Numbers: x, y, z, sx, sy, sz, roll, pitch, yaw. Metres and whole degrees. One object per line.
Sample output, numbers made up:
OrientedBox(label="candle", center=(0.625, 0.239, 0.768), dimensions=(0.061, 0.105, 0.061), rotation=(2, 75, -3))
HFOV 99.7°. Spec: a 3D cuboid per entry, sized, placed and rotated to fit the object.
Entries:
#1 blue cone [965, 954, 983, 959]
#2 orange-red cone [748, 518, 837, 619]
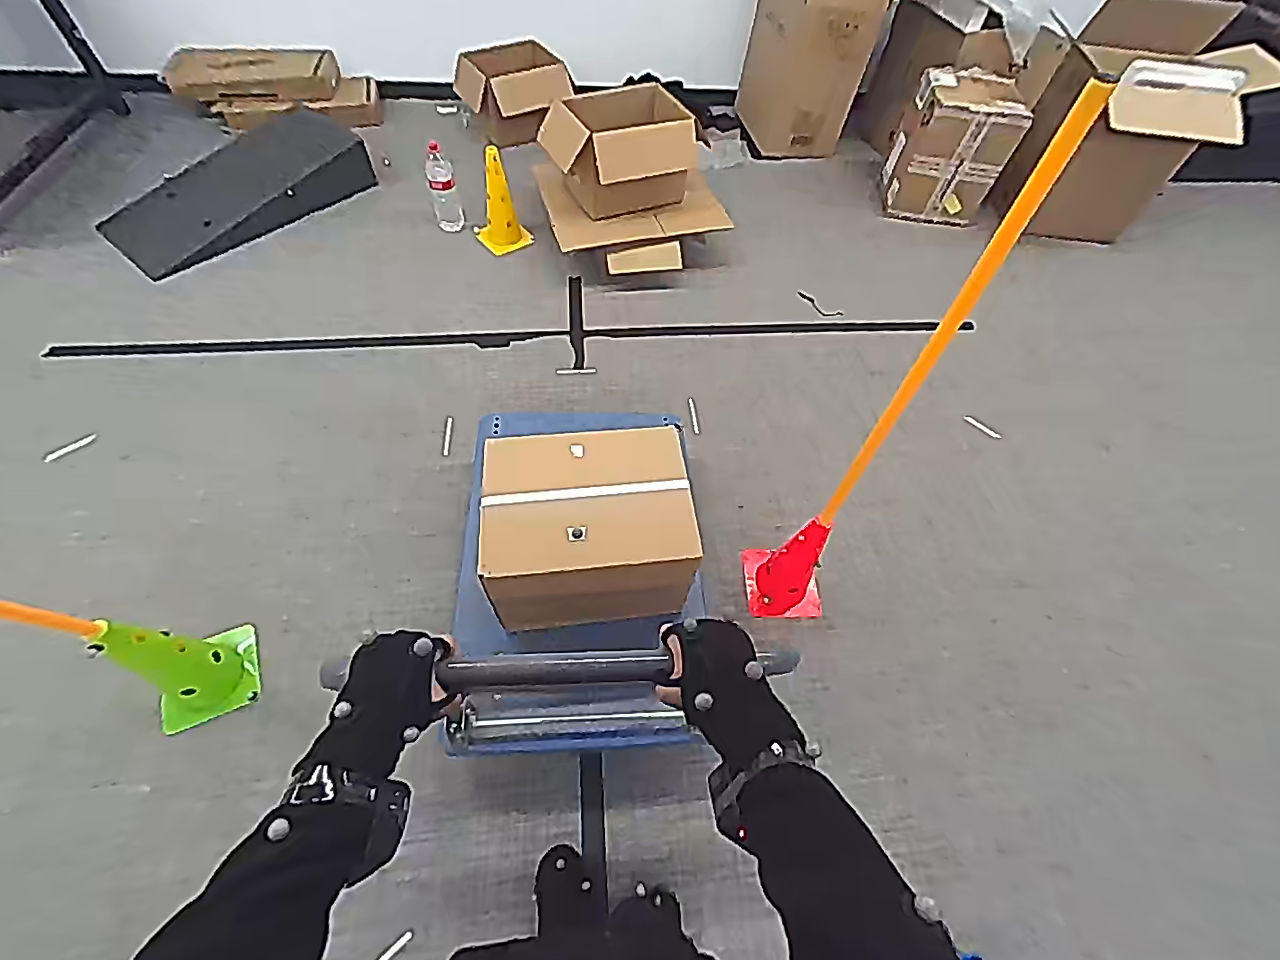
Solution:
OrientedBox(label="blue cone", center=(0.627, 0.947, 0.888), dimensions=(0.193, 0.380, 0.192), rotation=(-6, 56, -9))
OrientedBox(label="orange-red cone", center=(0.413, 0.194, 1.353), dimensions=(0.199, 0.360, 0.198), rotation=(3, 57, -3))
